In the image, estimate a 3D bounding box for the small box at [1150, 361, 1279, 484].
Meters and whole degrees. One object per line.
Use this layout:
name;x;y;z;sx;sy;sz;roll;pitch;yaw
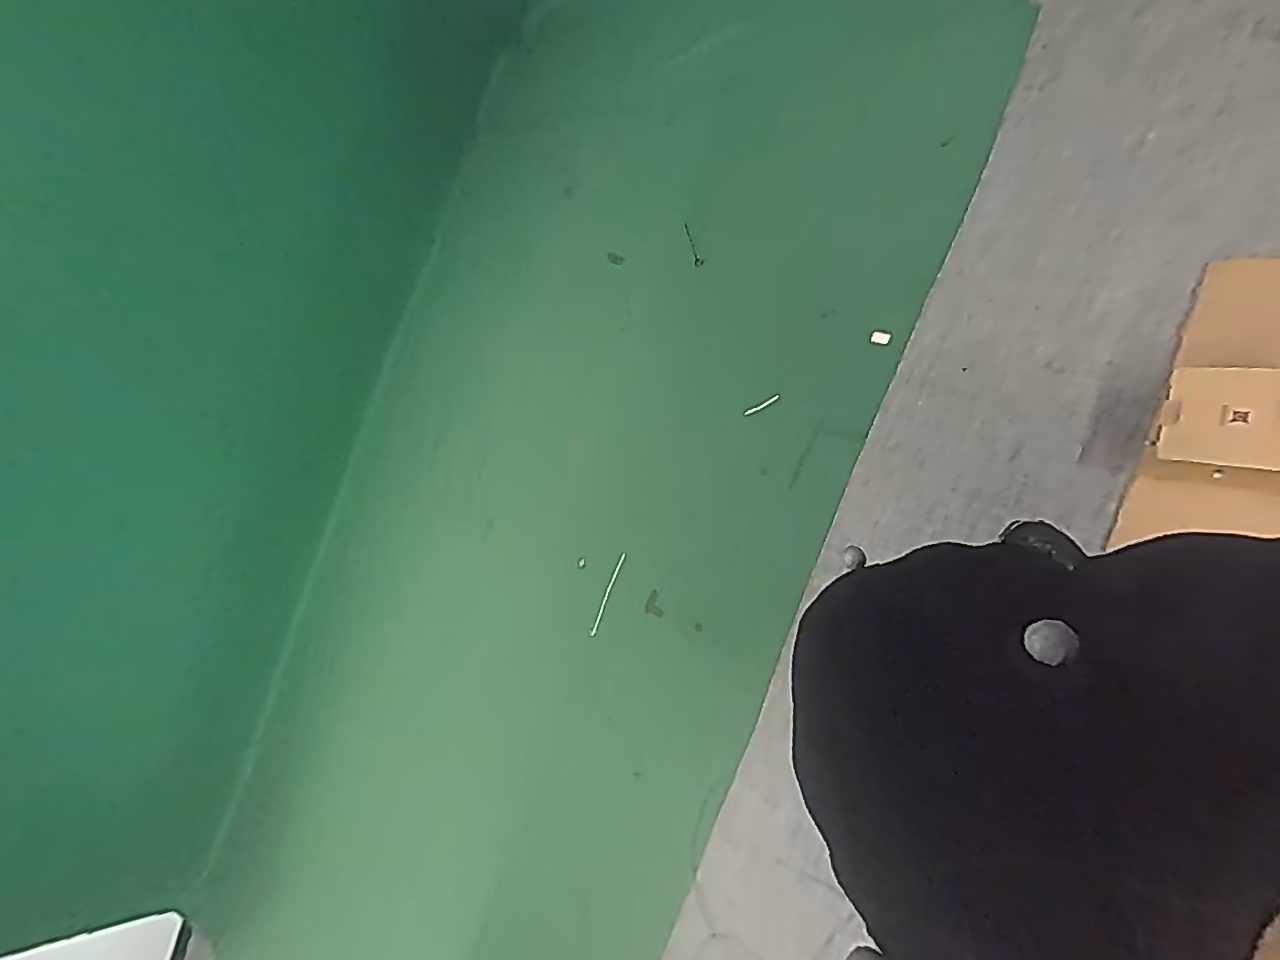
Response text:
small box;1.013;-0.096;0.931;0.179;0.176;0.168;12;87;41
